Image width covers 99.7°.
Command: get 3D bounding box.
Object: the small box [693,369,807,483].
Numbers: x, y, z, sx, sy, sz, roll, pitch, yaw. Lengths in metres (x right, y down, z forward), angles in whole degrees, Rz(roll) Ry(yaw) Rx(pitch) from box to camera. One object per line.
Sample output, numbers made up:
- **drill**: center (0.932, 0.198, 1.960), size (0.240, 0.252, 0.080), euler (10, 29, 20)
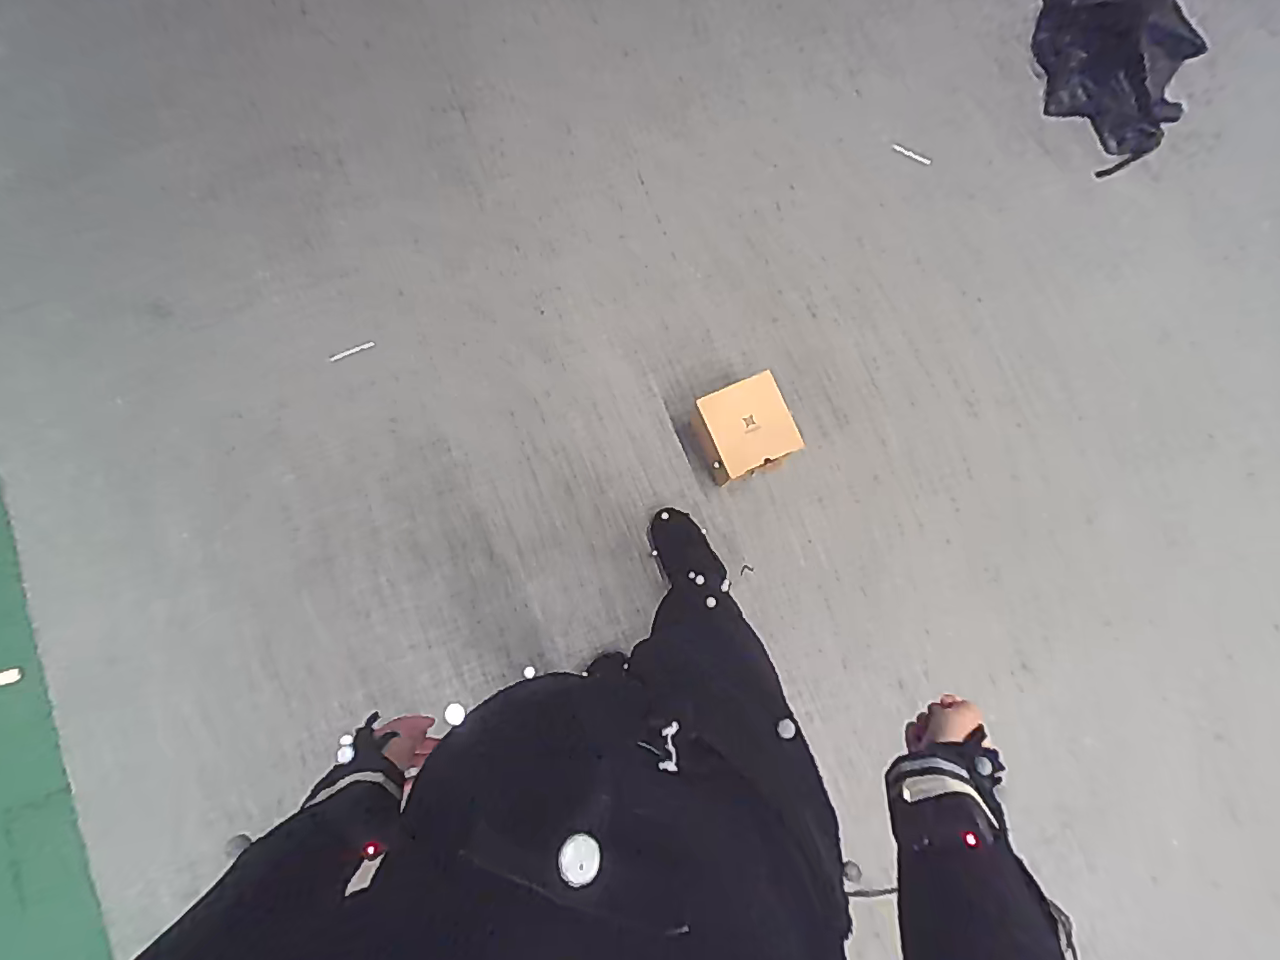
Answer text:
- **small box**: center (0.222, -0.106, 1.149), size (0.168, 0.176, 0.179), euler (-23, 84, -2)
